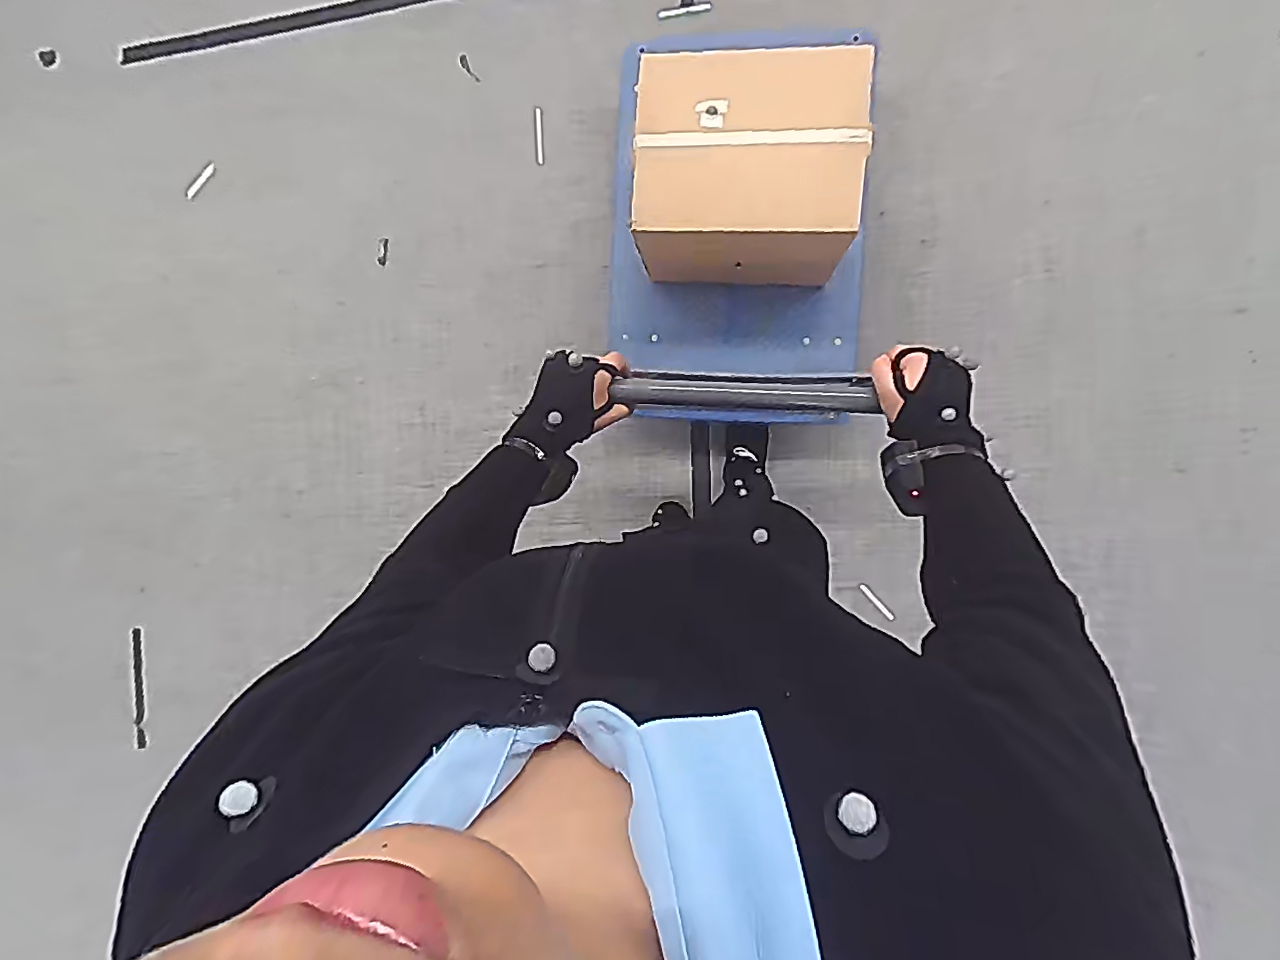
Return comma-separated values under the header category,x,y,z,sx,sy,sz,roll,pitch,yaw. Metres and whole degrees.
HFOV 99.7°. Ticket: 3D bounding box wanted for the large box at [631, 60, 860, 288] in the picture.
category,x,y,z,sx,sy,sz,roll,pitch,yaw
large box,0.210,-0.598,1.128,0.408,0.320,0.320,4,92,9
